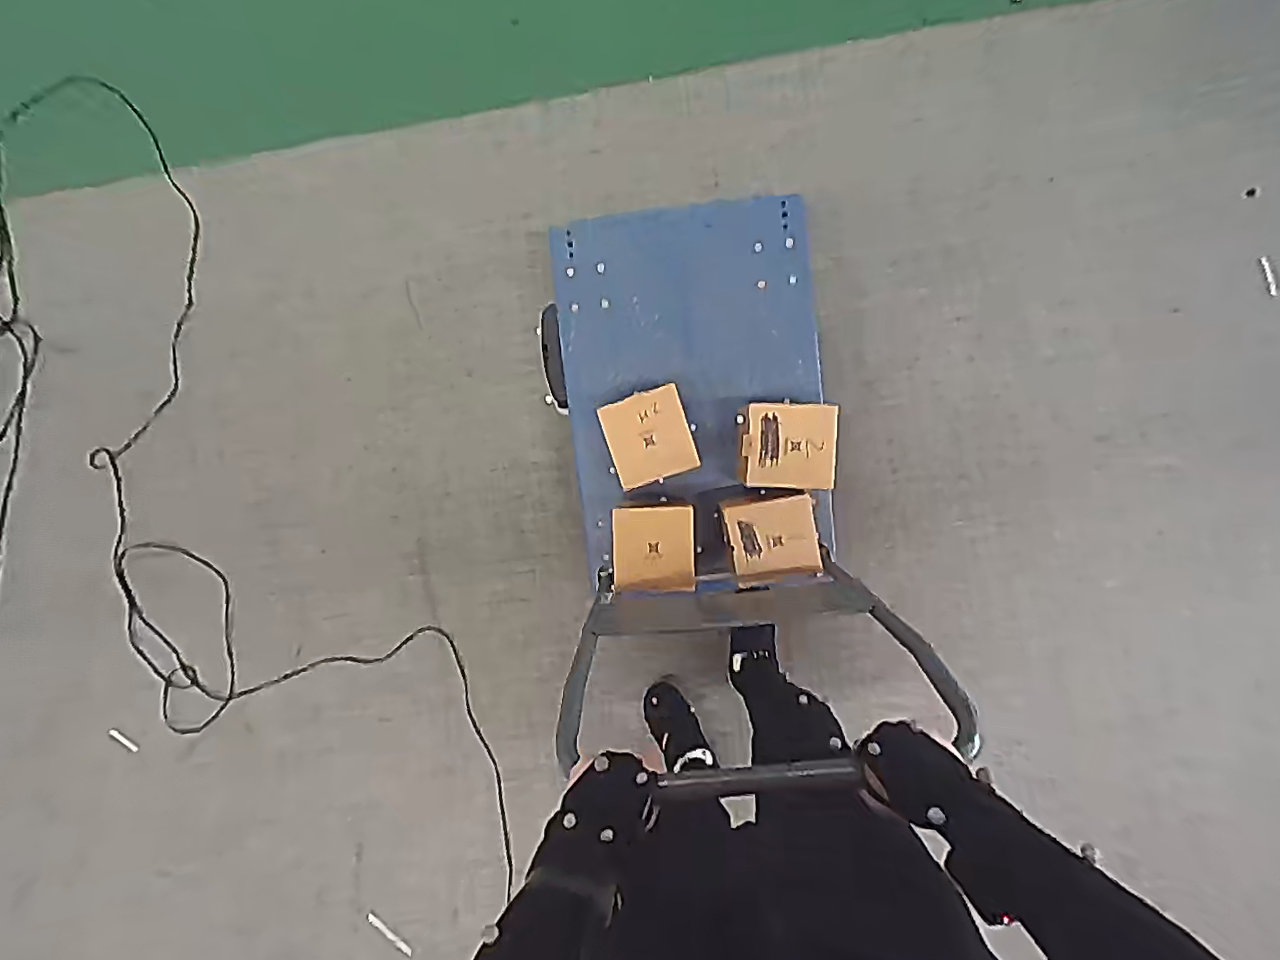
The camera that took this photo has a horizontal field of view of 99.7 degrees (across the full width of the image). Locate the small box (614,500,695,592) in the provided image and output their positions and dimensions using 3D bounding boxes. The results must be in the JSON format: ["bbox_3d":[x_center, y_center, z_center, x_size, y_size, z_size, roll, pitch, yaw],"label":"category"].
[{"bbox_3d":[0.030,0.135,1.174,0.168,0.176,0.179,-1,95,2],"label":"small box"}]

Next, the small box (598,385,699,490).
[{"bbox_3d":[0.021,-0.091,1.154,0.168,0.176,0.179,-18,93,3],"label":"small box"}]
